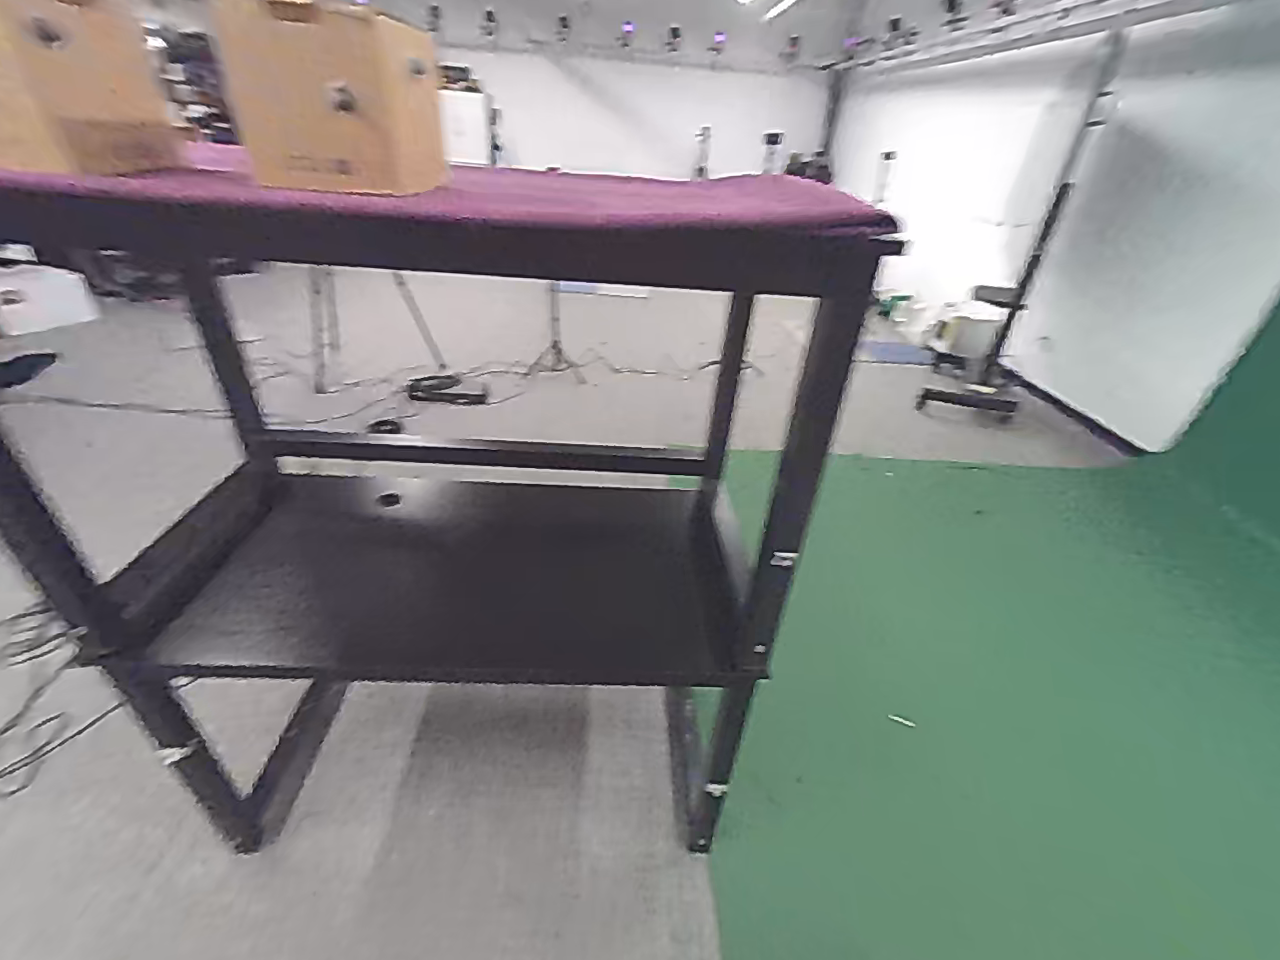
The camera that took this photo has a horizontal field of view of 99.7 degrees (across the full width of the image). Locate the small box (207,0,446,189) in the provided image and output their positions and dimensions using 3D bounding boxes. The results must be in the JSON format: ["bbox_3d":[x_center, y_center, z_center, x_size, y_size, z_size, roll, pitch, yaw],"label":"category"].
[{"bbox_3d":[-0.334,-0.439,0.621,0.168,0.176,0.179,4,32,-2],"label":"small box"}]
